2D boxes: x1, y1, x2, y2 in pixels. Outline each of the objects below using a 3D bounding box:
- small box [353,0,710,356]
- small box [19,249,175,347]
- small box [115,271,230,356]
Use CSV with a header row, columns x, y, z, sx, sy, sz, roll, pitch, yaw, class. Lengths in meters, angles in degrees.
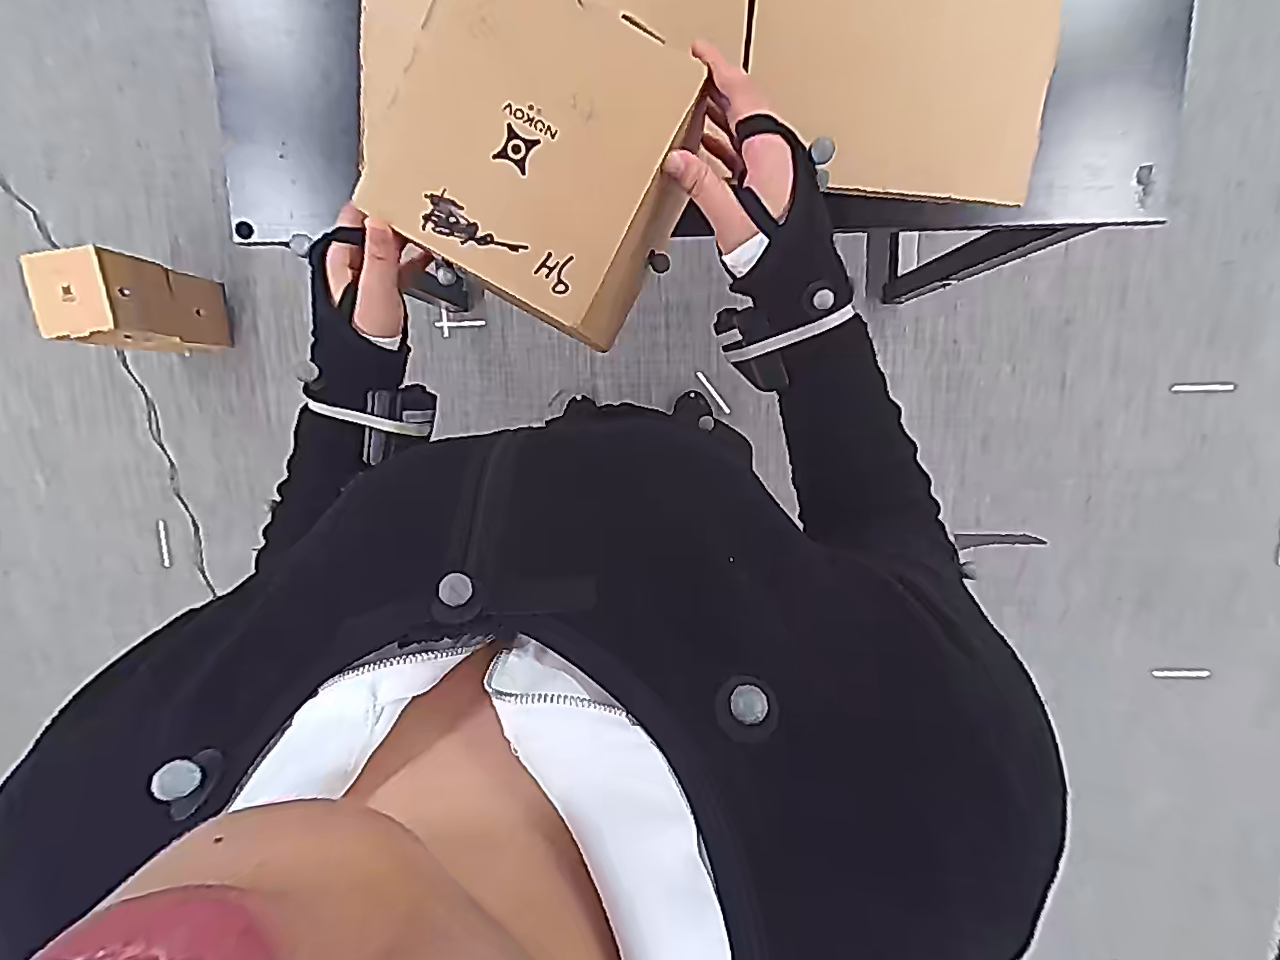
x,y,z,sx,sy,sz,roll,pitch,yaw,class
-0.066,-0.216,0.409,0.168,0.176,0.179,30,97,1,small box
-1.200,-0.398,1.213,0.168,0.176,0.179,-7,97,2,small box
-1.194,-0.416,1.375,0.168,0.176,0.179,-4,99,2,small box
